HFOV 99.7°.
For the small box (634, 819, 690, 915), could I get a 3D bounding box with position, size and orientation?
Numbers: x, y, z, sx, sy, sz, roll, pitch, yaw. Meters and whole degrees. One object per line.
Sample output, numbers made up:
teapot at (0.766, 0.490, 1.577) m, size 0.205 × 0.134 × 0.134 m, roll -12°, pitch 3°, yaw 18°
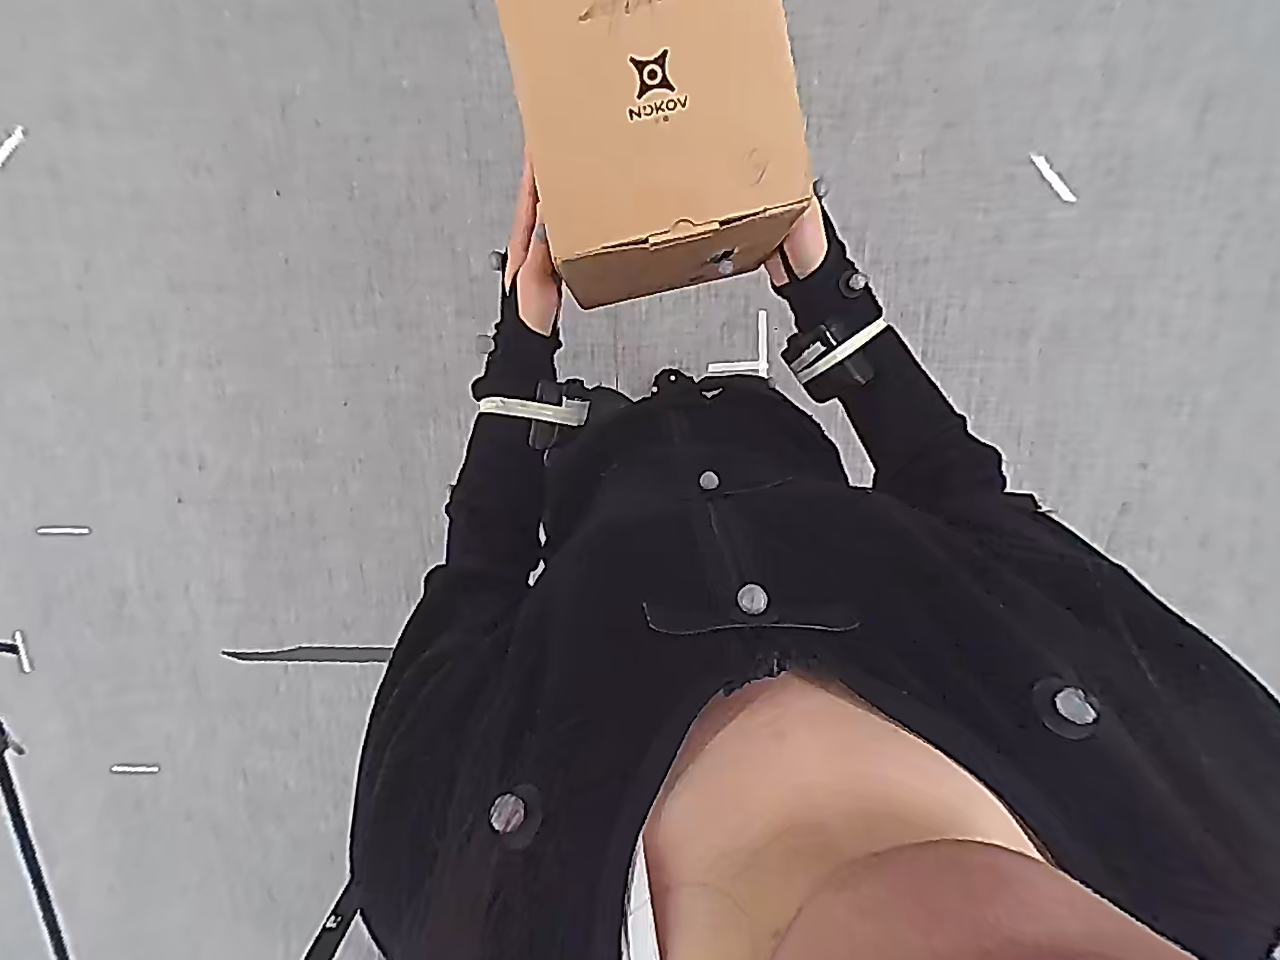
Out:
small box at (0.067, 1.190, 1.668) m, size 0.168 × 0.176 × 0.179 m, roll 0°, pitch 103°, yaw 1°
